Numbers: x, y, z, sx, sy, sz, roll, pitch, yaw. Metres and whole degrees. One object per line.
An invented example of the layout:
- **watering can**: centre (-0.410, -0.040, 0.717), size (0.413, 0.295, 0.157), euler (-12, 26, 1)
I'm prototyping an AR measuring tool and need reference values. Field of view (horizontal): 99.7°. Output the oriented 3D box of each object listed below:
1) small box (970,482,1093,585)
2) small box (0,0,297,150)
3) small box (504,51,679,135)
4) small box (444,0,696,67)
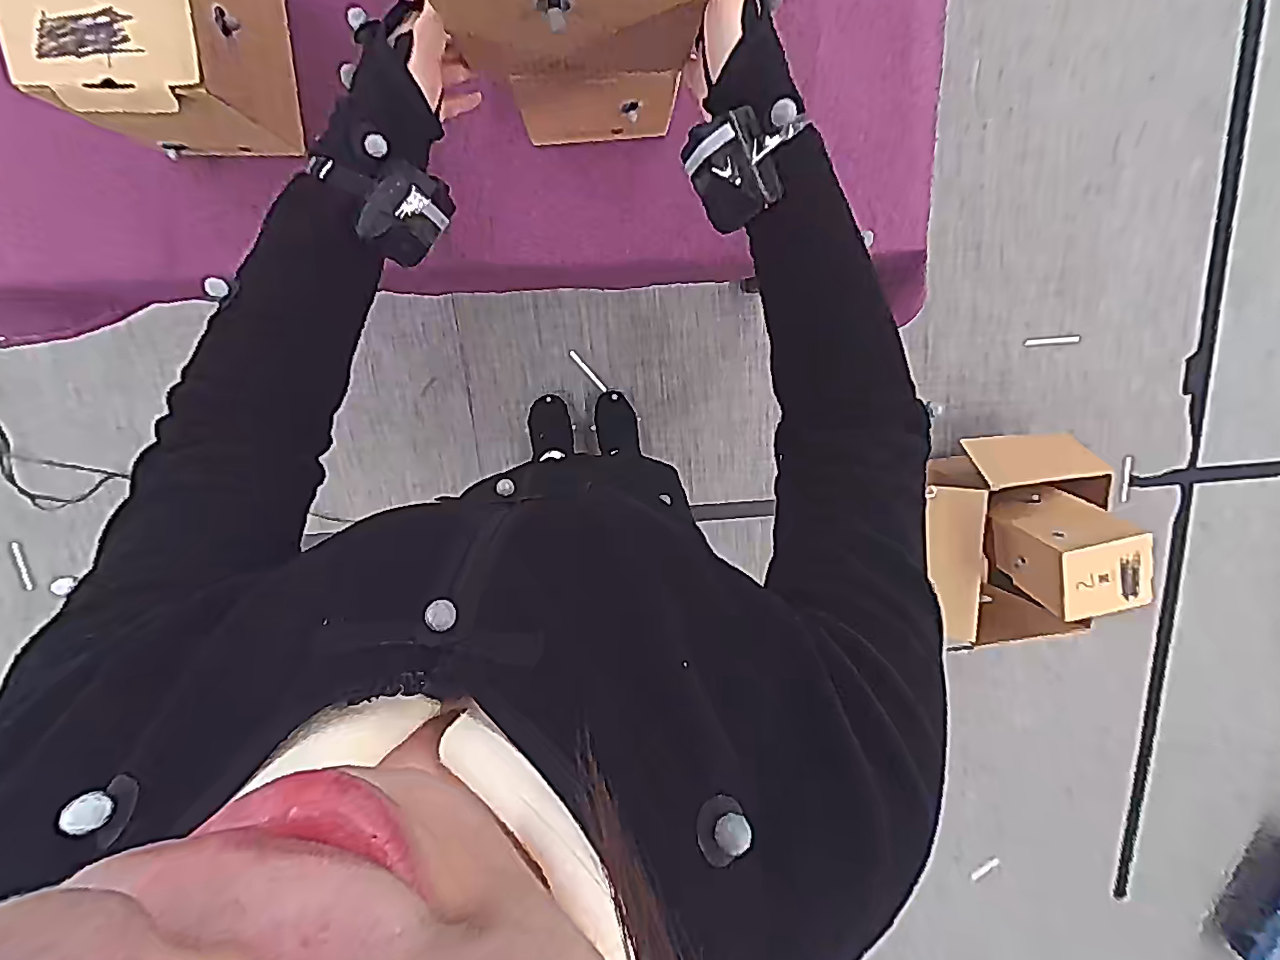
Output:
- **small box**: centre (0.948, 0.121, 1.323), size (0.168, 0.176, 0.179), euler (-24, 107, 7)
- **small box**: centre (-0.475, -0.451, 0.538), size (0.168, 0.176, 0.179), euler (-1, 103, -3)
- **small box**: centre (-0.052, -0.479, 0.557), size (0.168, 0.176, 0.179), euler (-5, 103, -3)
- **small box**: centre (-0.047, -0.386, 0.339), size (0.179, 0.176, 0.168), euler (-2, 110, -3)
